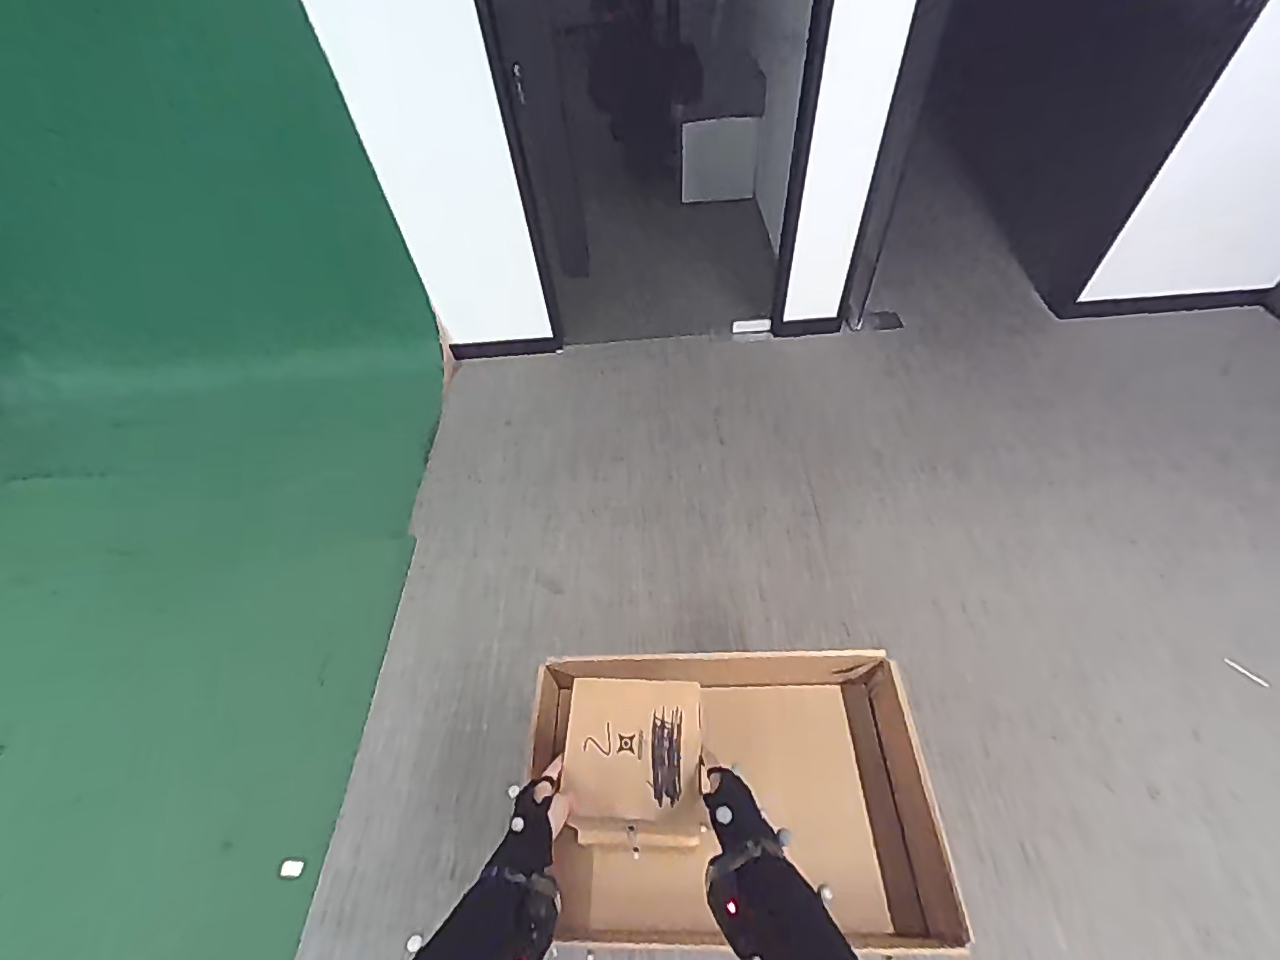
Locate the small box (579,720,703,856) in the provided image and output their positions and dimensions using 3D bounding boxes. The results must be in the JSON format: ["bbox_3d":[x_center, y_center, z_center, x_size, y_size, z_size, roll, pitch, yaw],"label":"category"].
[{"bbox_3d":[0.008,0.494,0.866,0.179,0.176,0.168,-1,51,5],"label":"small box"}]
